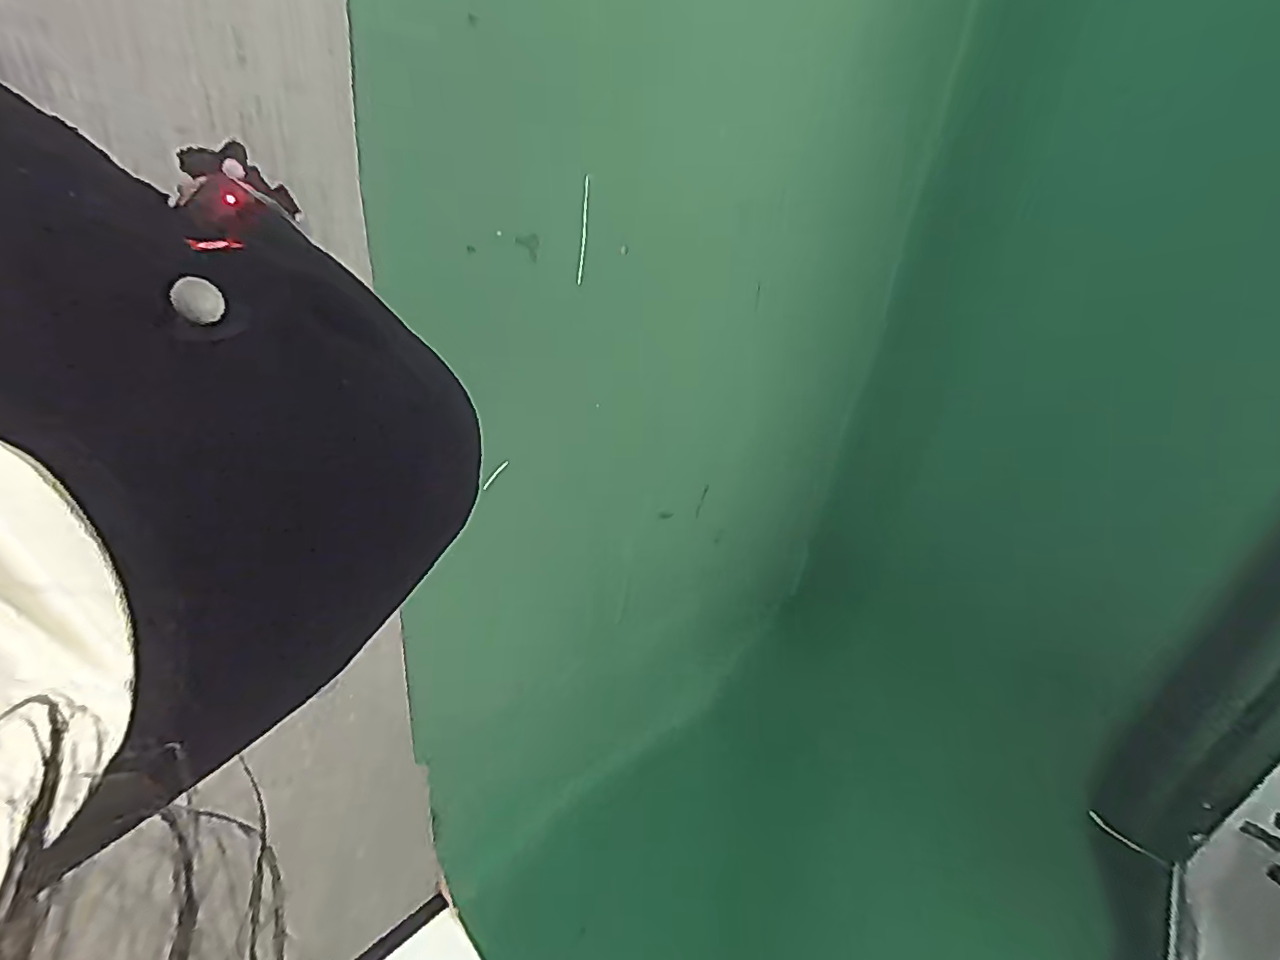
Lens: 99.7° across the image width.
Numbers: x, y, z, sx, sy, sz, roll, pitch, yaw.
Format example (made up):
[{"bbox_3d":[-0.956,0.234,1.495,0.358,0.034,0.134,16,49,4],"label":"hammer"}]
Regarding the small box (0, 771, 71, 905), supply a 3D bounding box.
[{"bbox_3d":[-1.360,0.774,1.153,0.179,0.176,0.168,-14,123,-47],"label":"small box"}]
